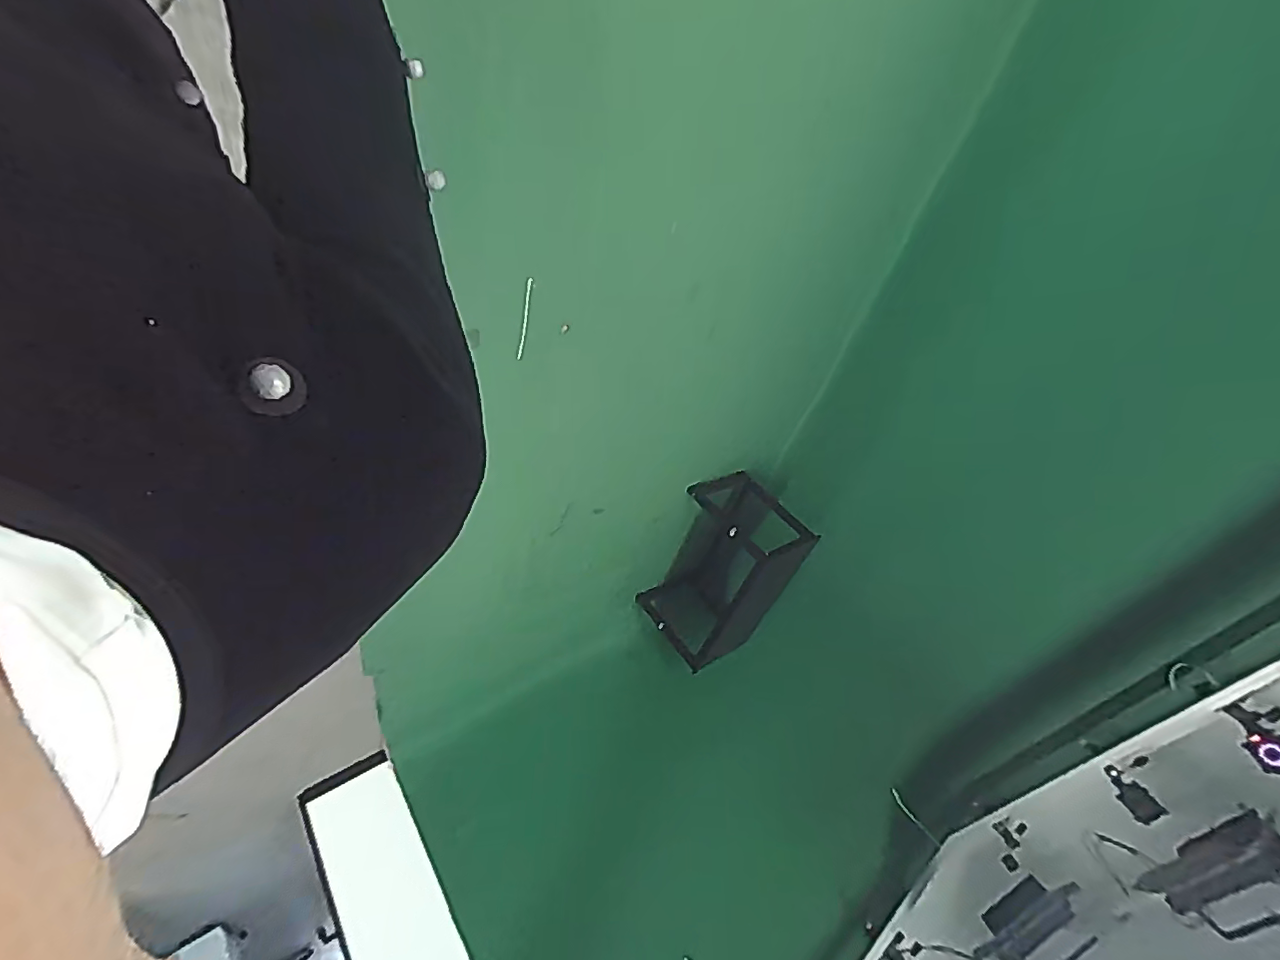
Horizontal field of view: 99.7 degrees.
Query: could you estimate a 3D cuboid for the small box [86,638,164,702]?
[{"bbox_3d":[-1.722,0.661,1.808,0.179,0.176,0.168,-10,137,-43],"label":"small box"}]
